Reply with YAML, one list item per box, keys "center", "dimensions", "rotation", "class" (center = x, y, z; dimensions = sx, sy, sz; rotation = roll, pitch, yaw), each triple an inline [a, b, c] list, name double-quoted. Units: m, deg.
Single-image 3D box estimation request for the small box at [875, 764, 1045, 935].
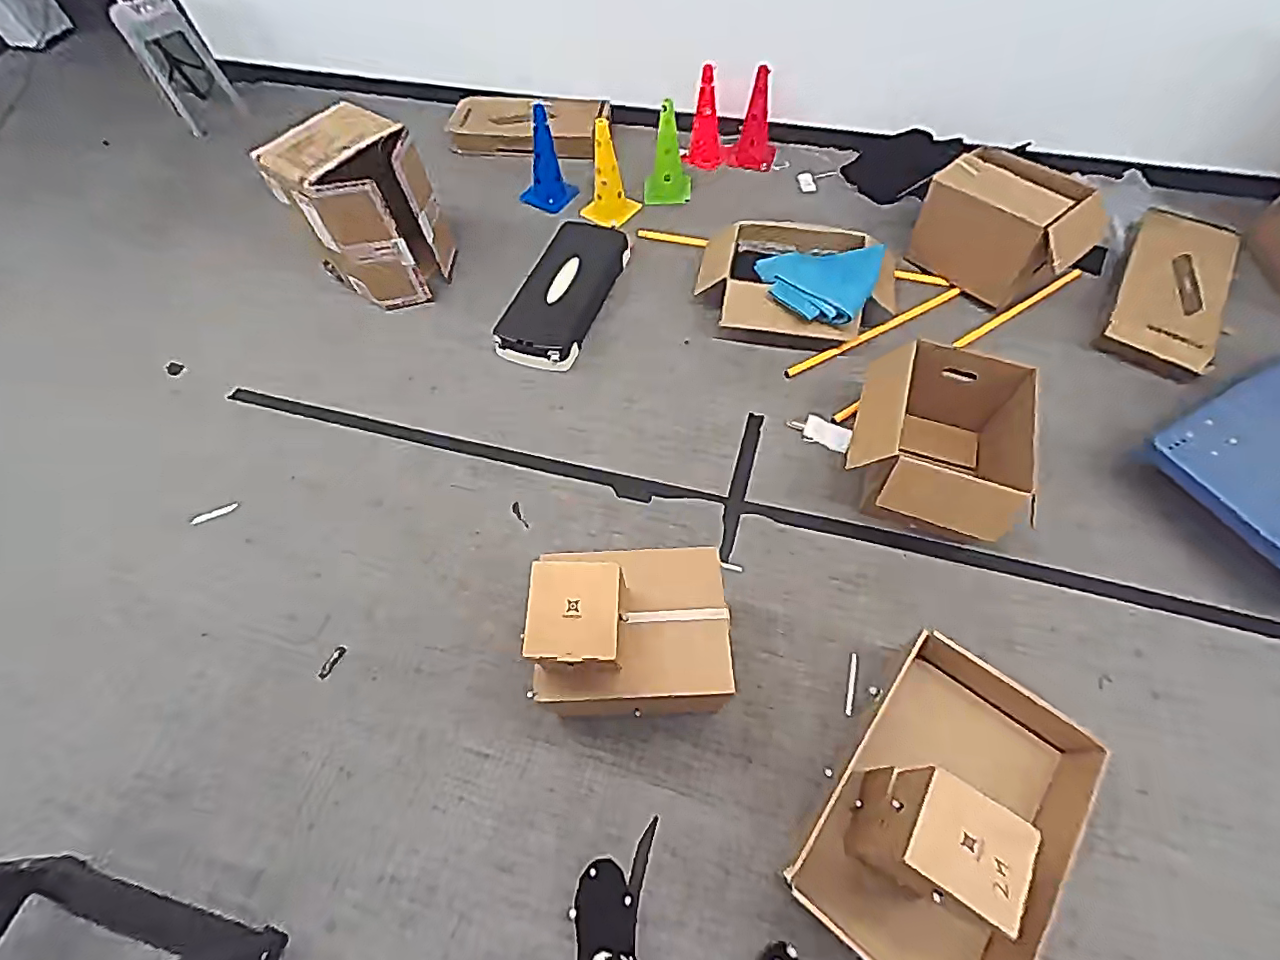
- center: [0.535, 0.622, 0.927]
  dimensions: [0.179, 0.176, 0.168]
  rotation: [30, 64, 17]
  class: "small box"
